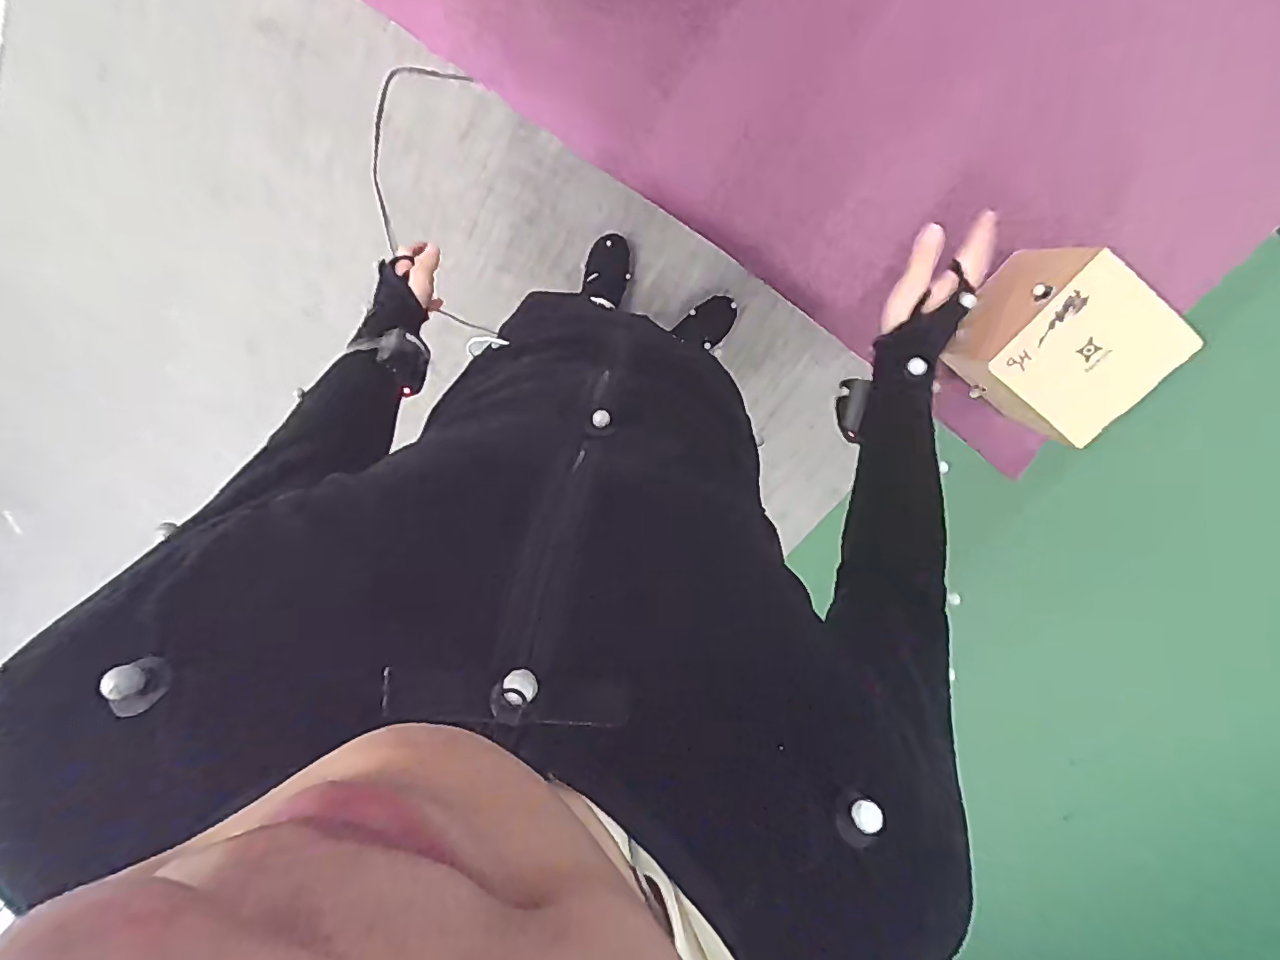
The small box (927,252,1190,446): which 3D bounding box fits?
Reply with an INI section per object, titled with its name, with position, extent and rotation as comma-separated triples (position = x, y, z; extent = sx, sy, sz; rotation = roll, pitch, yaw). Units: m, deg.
[small box]
position = 0.527, -0.179, 0.710
extent = 0.179, 0.176, 0.168
rotation = 35, 110, -11
